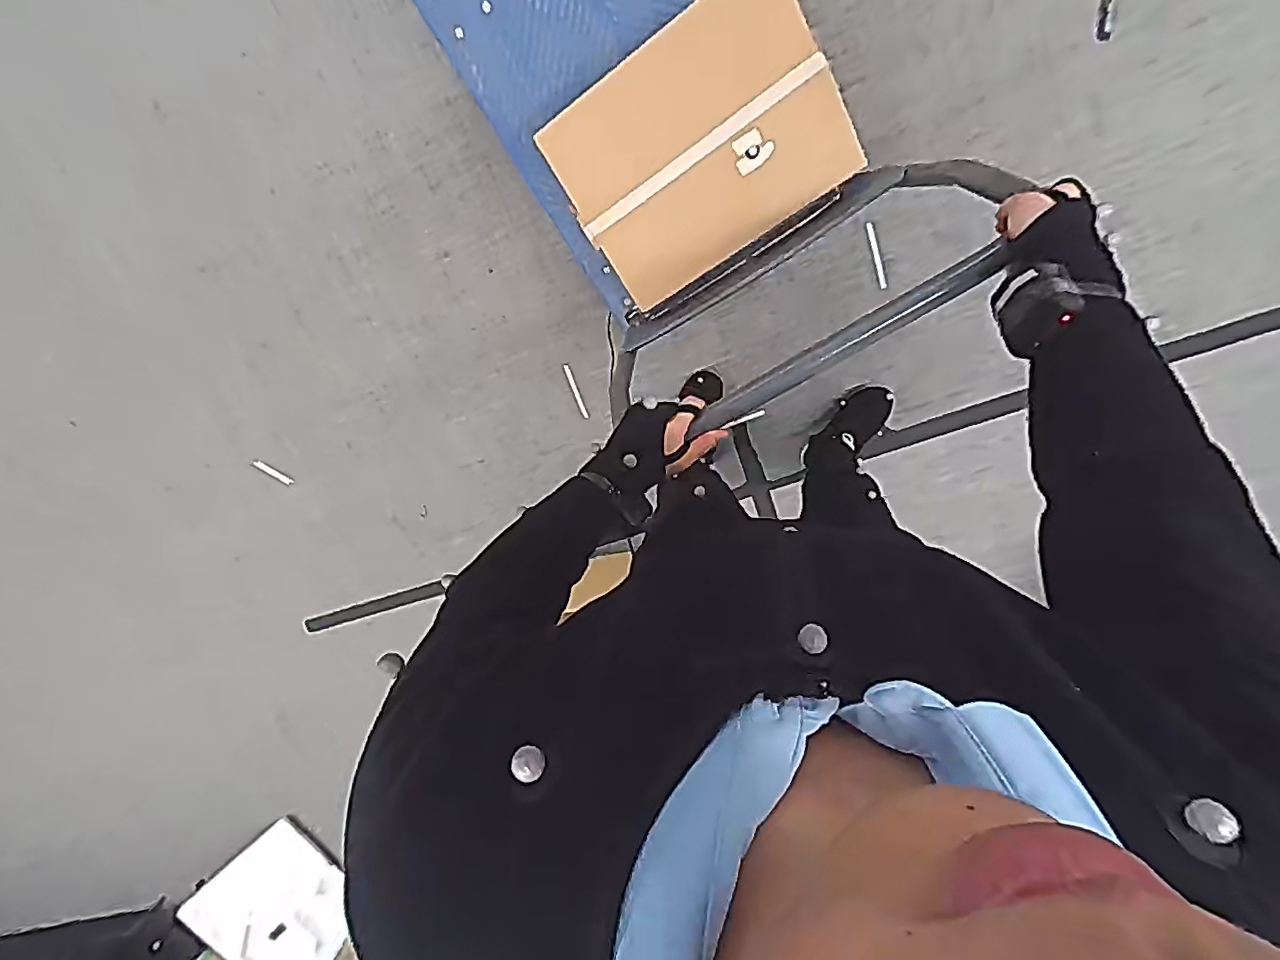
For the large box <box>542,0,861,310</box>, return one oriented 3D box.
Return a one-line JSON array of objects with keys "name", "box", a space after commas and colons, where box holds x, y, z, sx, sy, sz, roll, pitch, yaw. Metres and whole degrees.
[{"name": "large box", "box": [0.100, -0.561, 0.959, 0.408, 0.320, 0.320, -30, 110, 17]}]
